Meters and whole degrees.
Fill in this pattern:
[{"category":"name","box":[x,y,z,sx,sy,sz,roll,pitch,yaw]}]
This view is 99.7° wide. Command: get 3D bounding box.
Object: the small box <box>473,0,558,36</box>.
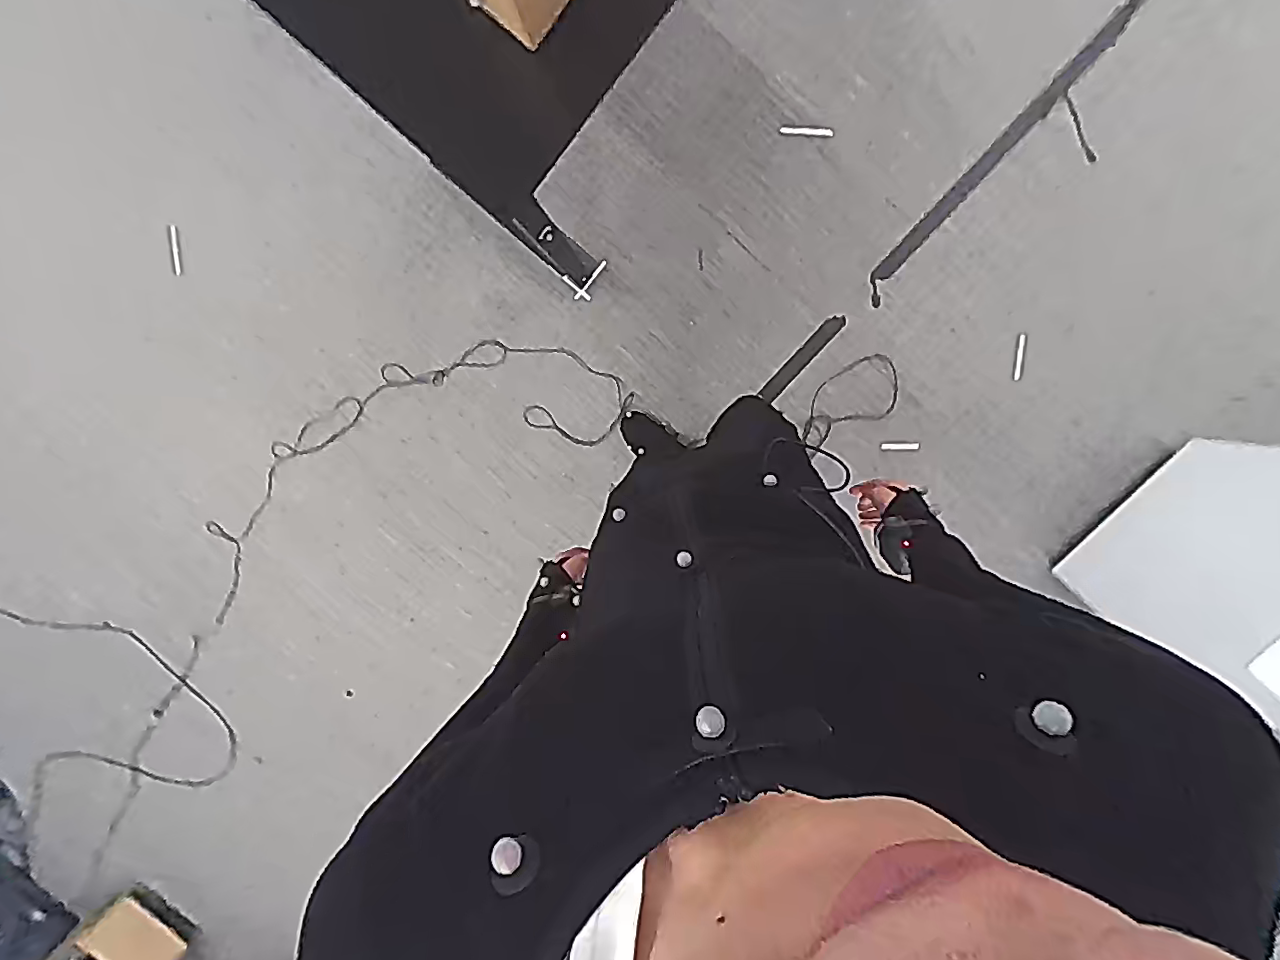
[{"category":"small box","box":[-0.180,-0.734,0.699,0.179,0.176,0.168,39,99,-4]}]
